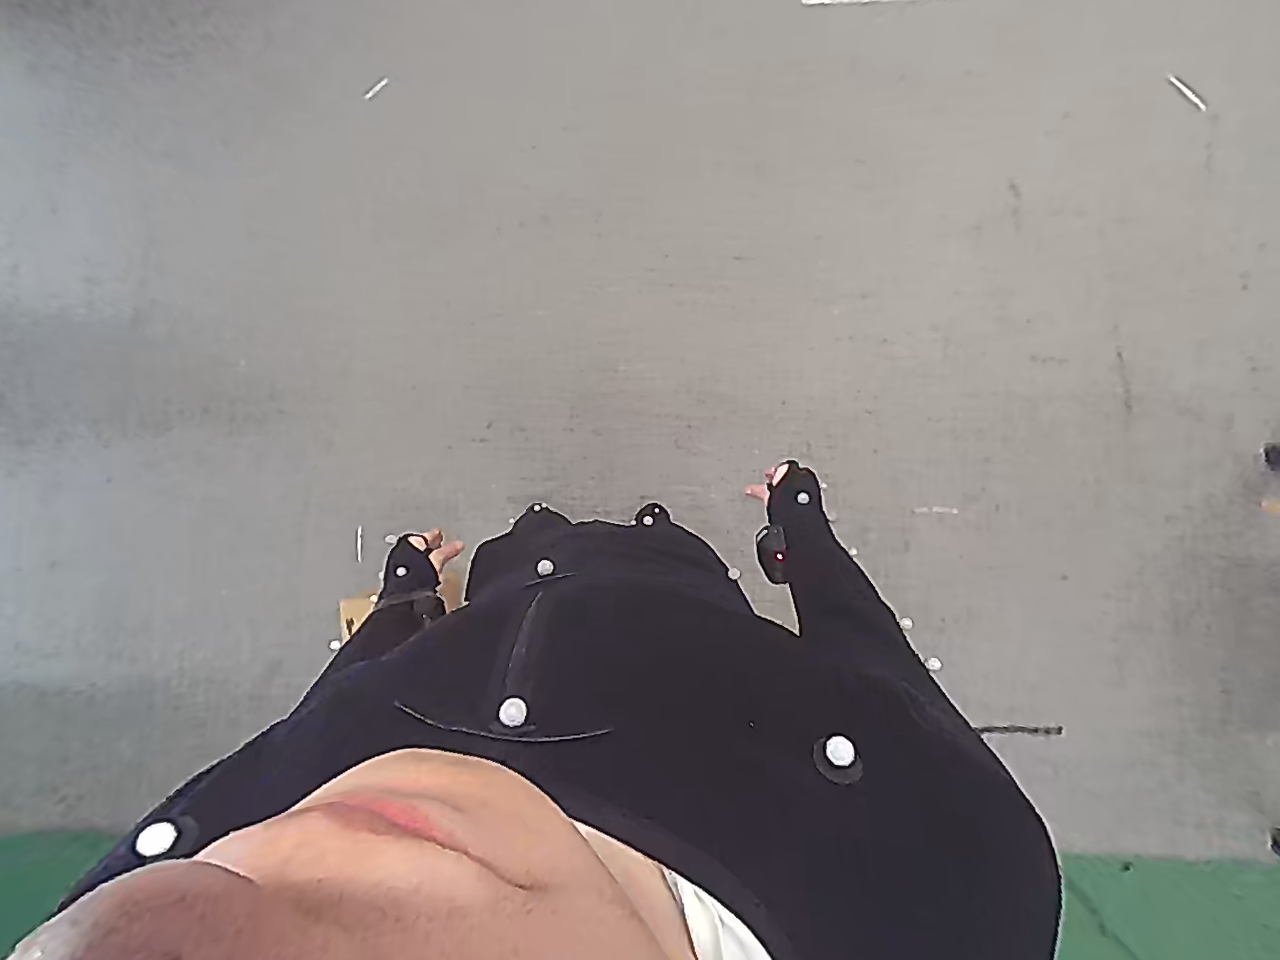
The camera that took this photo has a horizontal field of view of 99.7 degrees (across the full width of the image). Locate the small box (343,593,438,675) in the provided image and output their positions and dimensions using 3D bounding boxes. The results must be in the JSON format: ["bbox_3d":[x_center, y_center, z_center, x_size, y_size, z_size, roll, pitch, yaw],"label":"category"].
[{"bbox_3d":[-0.643,0.397,1.416,0.179,0.176,0.168,-4,89,2],"label":"small box"}]

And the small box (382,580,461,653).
[{"bbox_3d":[-0.633,0.395,1.580,0.168,0.176,0.179,-1,88,3],"label":"small box"}]
